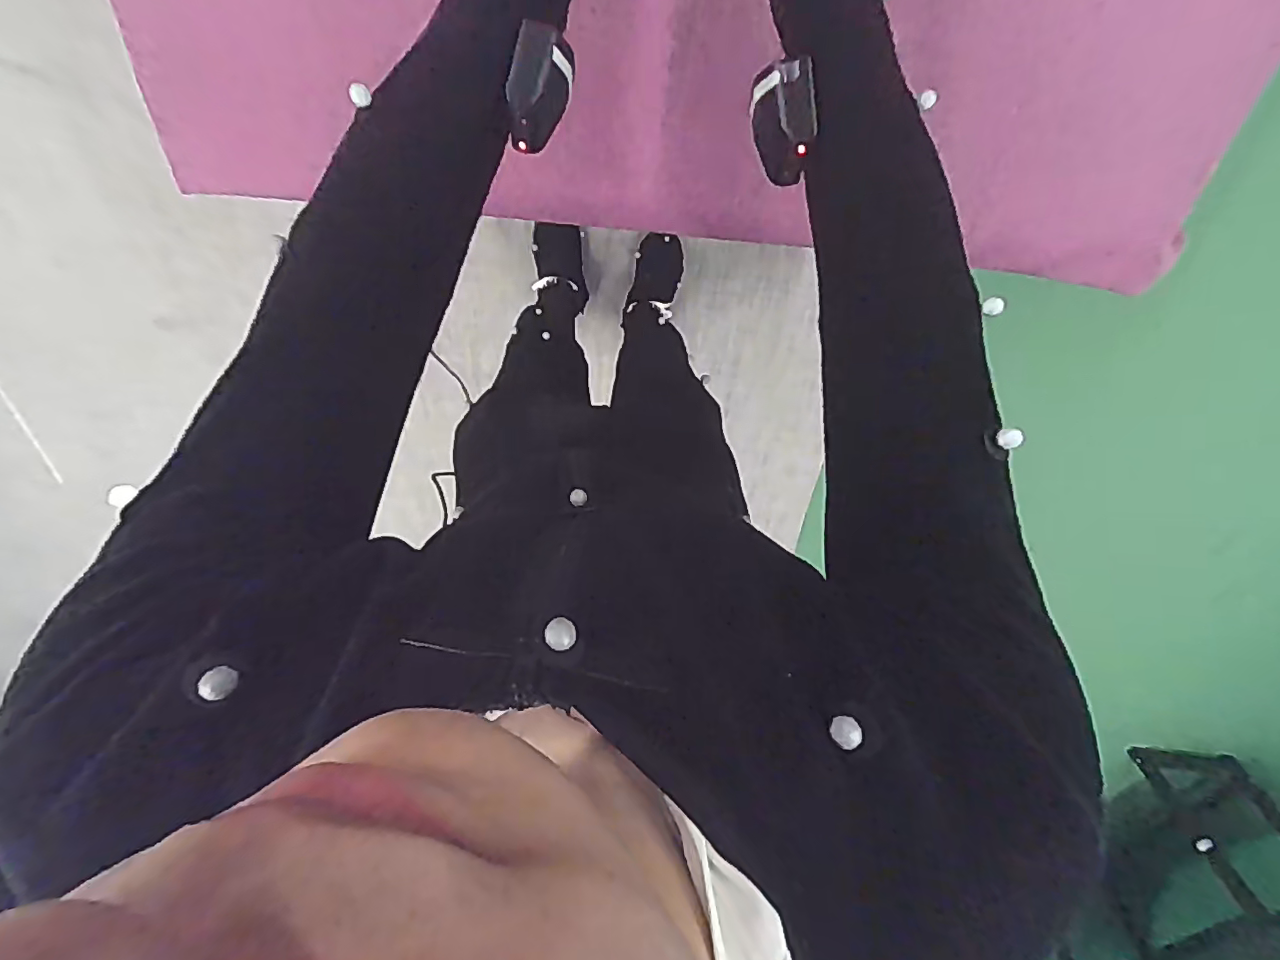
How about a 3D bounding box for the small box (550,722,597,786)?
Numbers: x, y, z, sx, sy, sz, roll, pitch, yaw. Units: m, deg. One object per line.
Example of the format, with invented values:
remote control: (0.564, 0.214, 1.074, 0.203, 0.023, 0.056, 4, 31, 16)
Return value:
small box: (-0.270, 1.125, 2.218, 0.168, 0.176, 0.179, 6, 125, -3)
